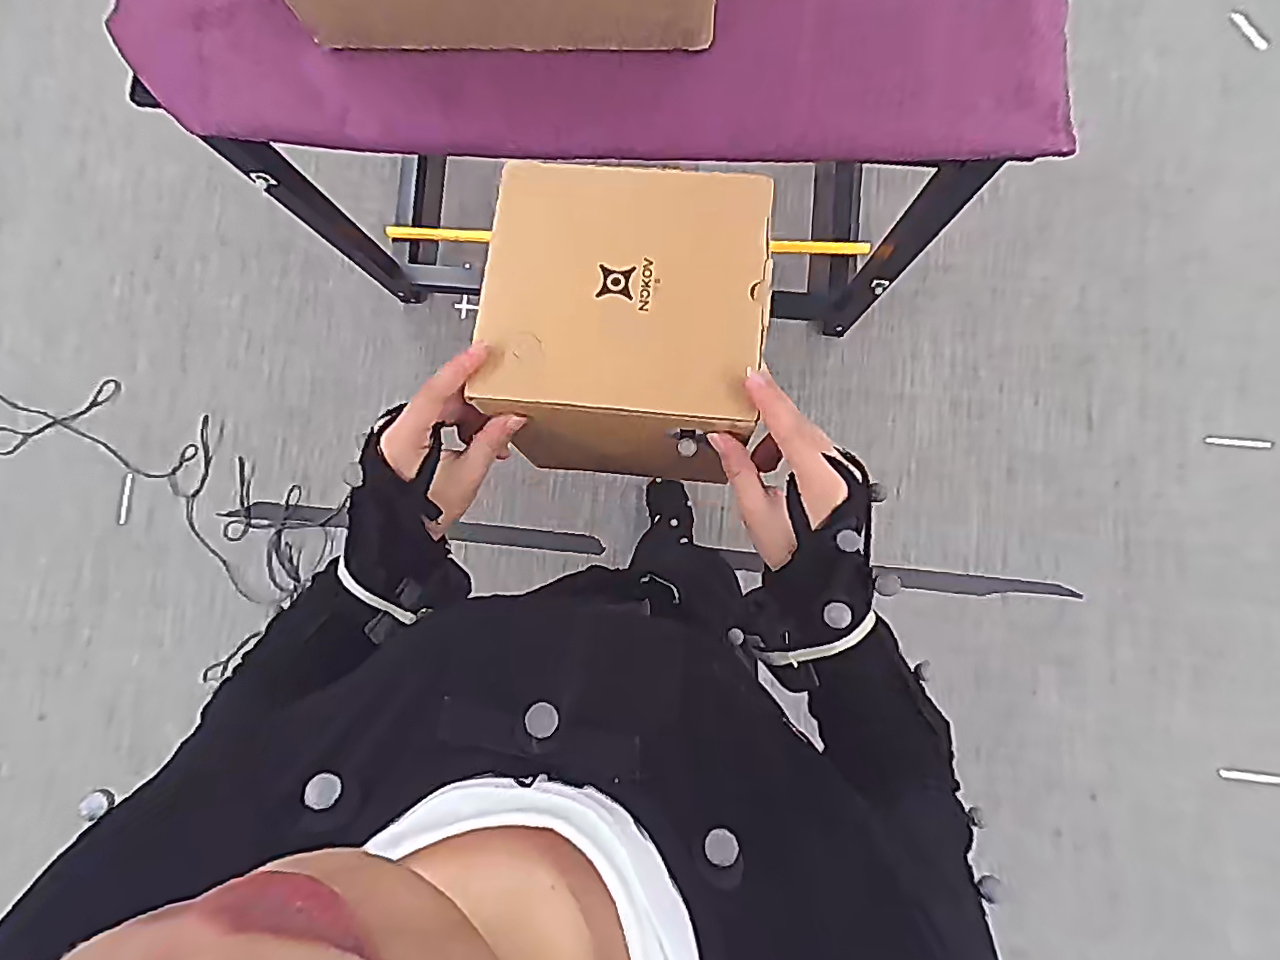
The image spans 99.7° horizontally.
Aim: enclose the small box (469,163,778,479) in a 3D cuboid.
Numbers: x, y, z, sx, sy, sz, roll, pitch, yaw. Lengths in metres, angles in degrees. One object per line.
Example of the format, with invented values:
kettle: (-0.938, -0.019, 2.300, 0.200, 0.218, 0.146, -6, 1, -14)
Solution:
small box: (-0.003, -0.102, 0.407, 0.179, 0.176, 0.168, 5, 78, 3)
